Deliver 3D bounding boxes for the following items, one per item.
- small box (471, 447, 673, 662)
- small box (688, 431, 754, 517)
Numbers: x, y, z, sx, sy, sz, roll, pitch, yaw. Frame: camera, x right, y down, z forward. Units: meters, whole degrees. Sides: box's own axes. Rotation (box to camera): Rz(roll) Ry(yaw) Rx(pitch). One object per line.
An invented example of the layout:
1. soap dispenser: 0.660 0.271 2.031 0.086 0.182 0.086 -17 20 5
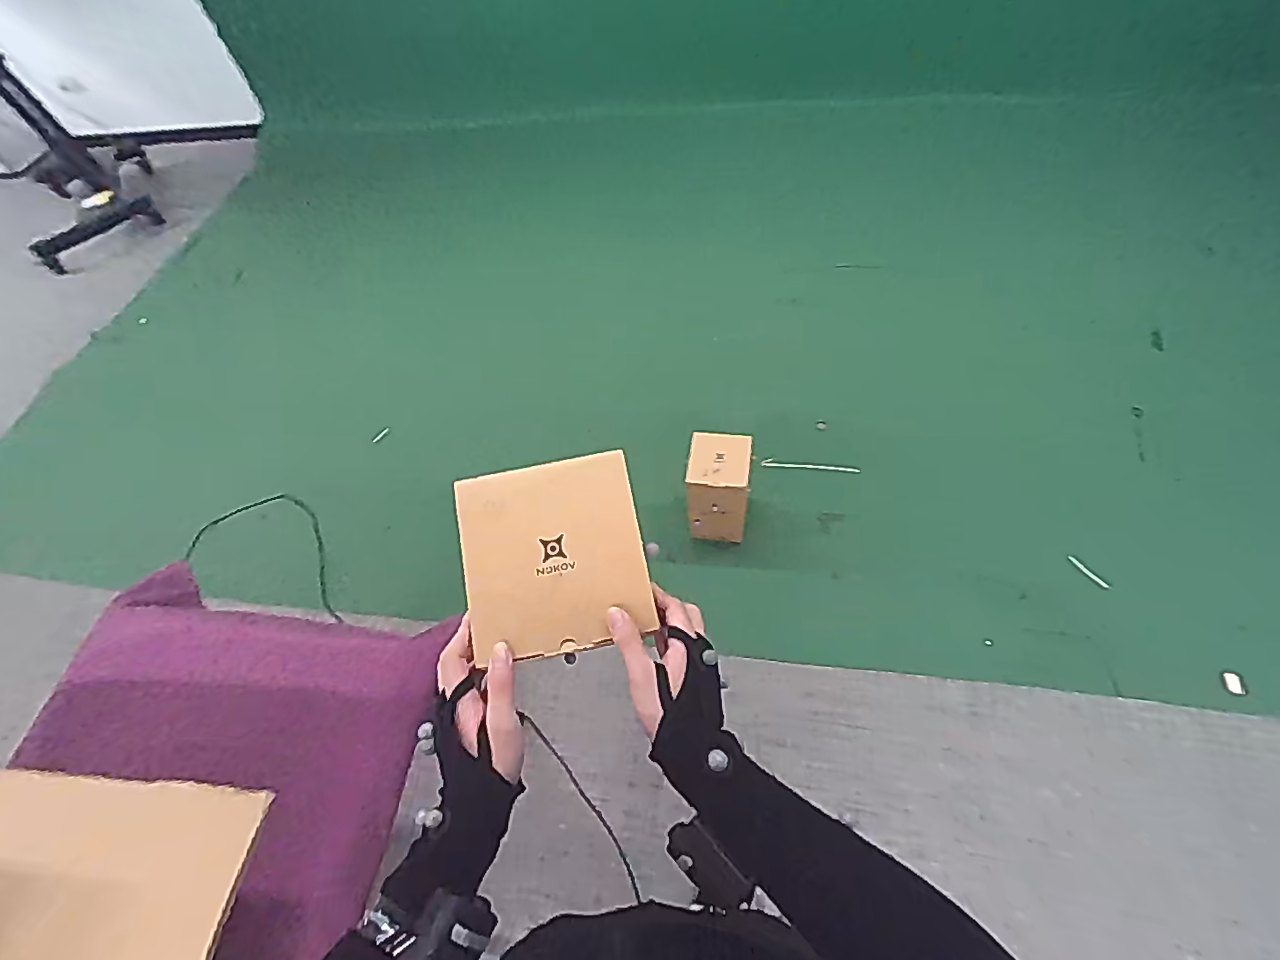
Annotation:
1. small box: -0.067 0.085 0.569 0.168 0.176 0.179 -11 75 -3
2. small box: 0.232 -0.016 1.548 0.168 0.176 0.179 5 59 12
